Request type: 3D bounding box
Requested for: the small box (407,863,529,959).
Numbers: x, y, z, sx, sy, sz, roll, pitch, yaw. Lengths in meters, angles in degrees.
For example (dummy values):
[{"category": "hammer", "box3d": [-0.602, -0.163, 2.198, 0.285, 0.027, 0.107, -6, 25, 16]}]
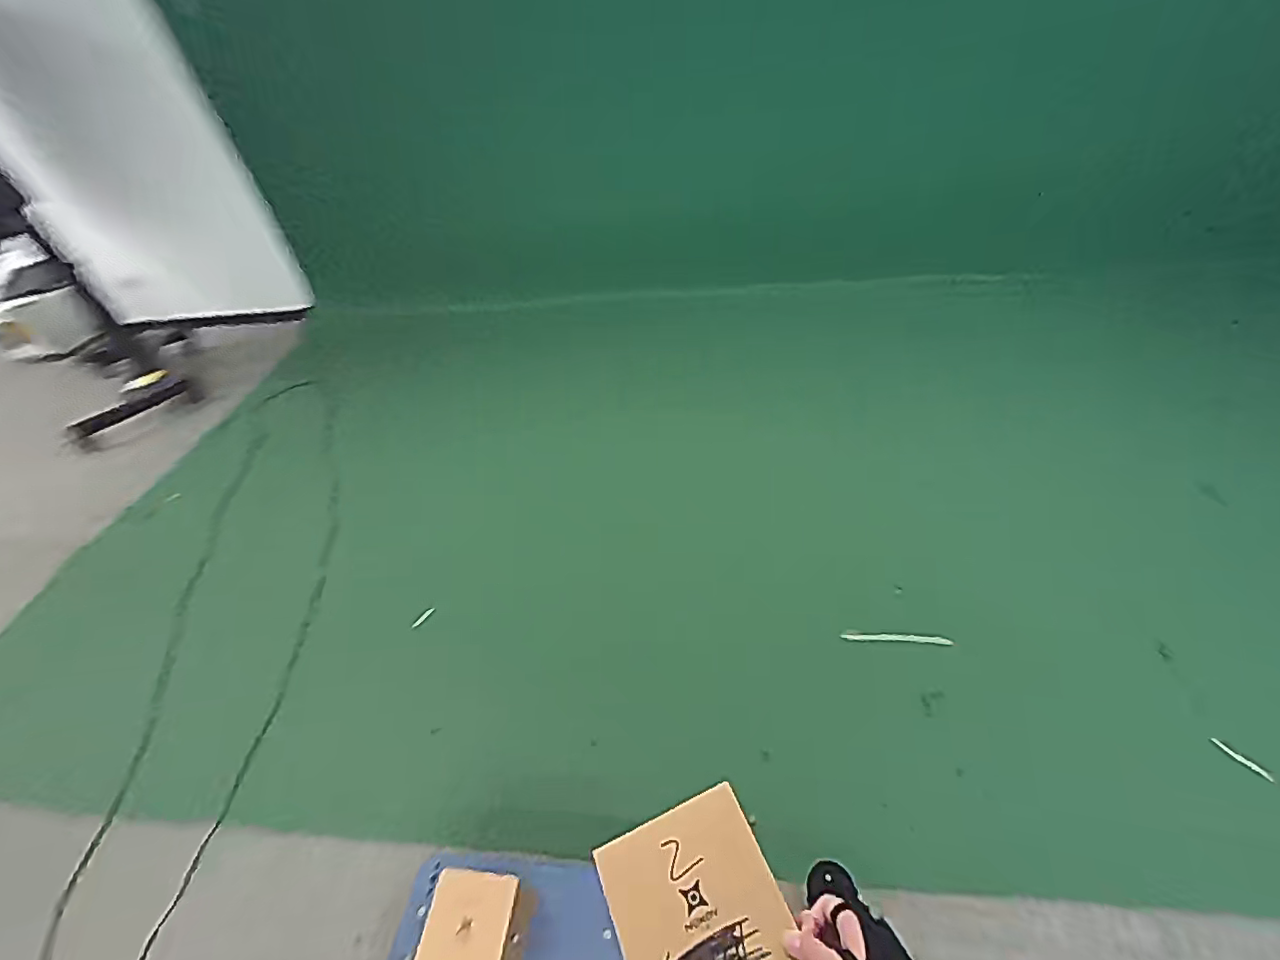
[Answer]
[{"category": "small box", "box3d": [-0.337, 0.902, 1.091, 0.168, 0.176, 0.179, 1, 46, 9]}]
